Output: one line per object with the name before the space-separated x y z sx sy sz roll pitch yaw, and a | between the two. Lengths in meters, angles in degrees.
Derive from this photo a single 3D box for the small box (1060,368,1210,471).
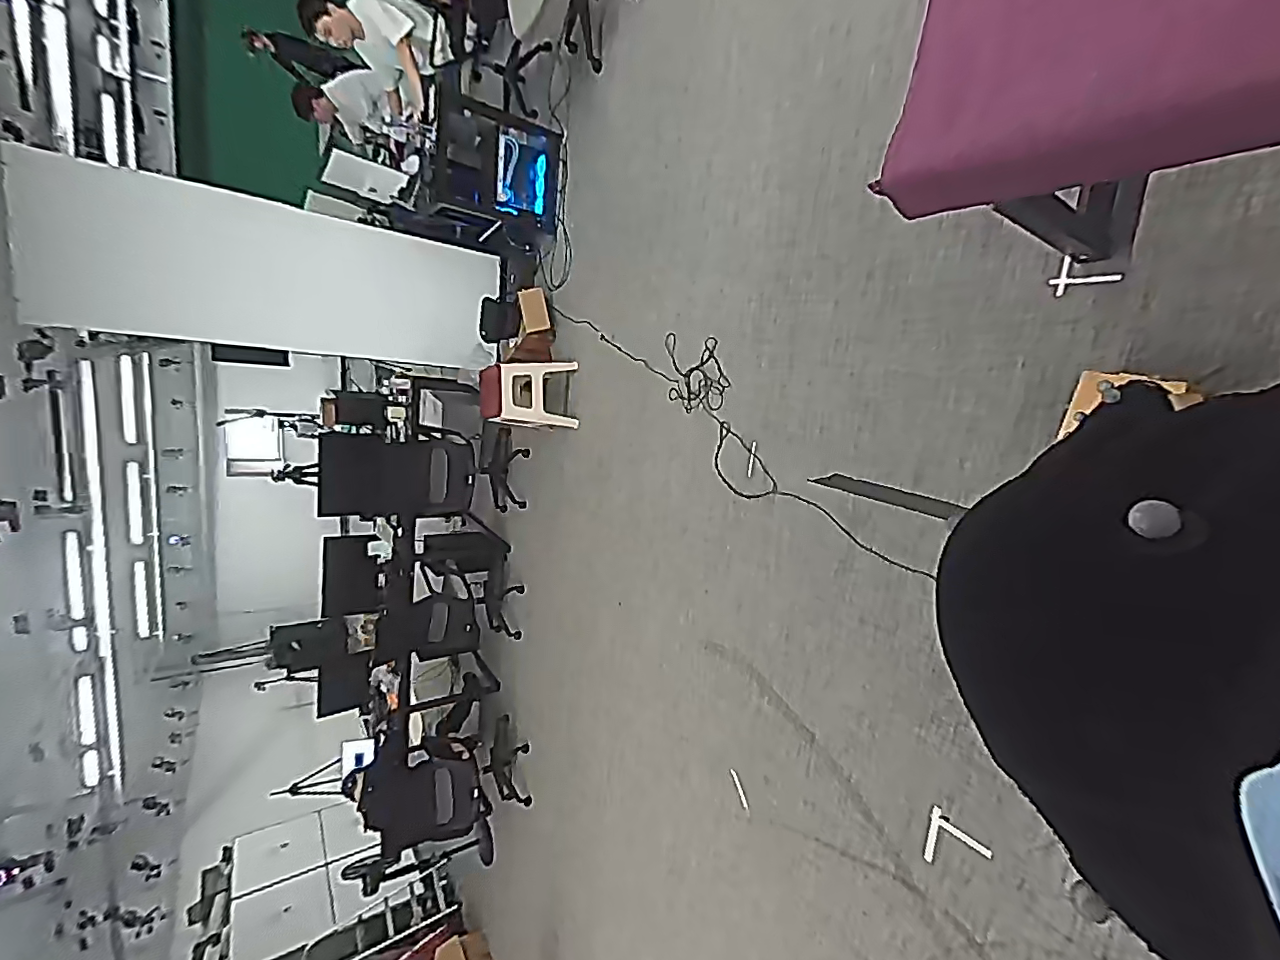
small box | 1.012 -0.124 1.106 0.168 0.176 0.179 29 115 50
